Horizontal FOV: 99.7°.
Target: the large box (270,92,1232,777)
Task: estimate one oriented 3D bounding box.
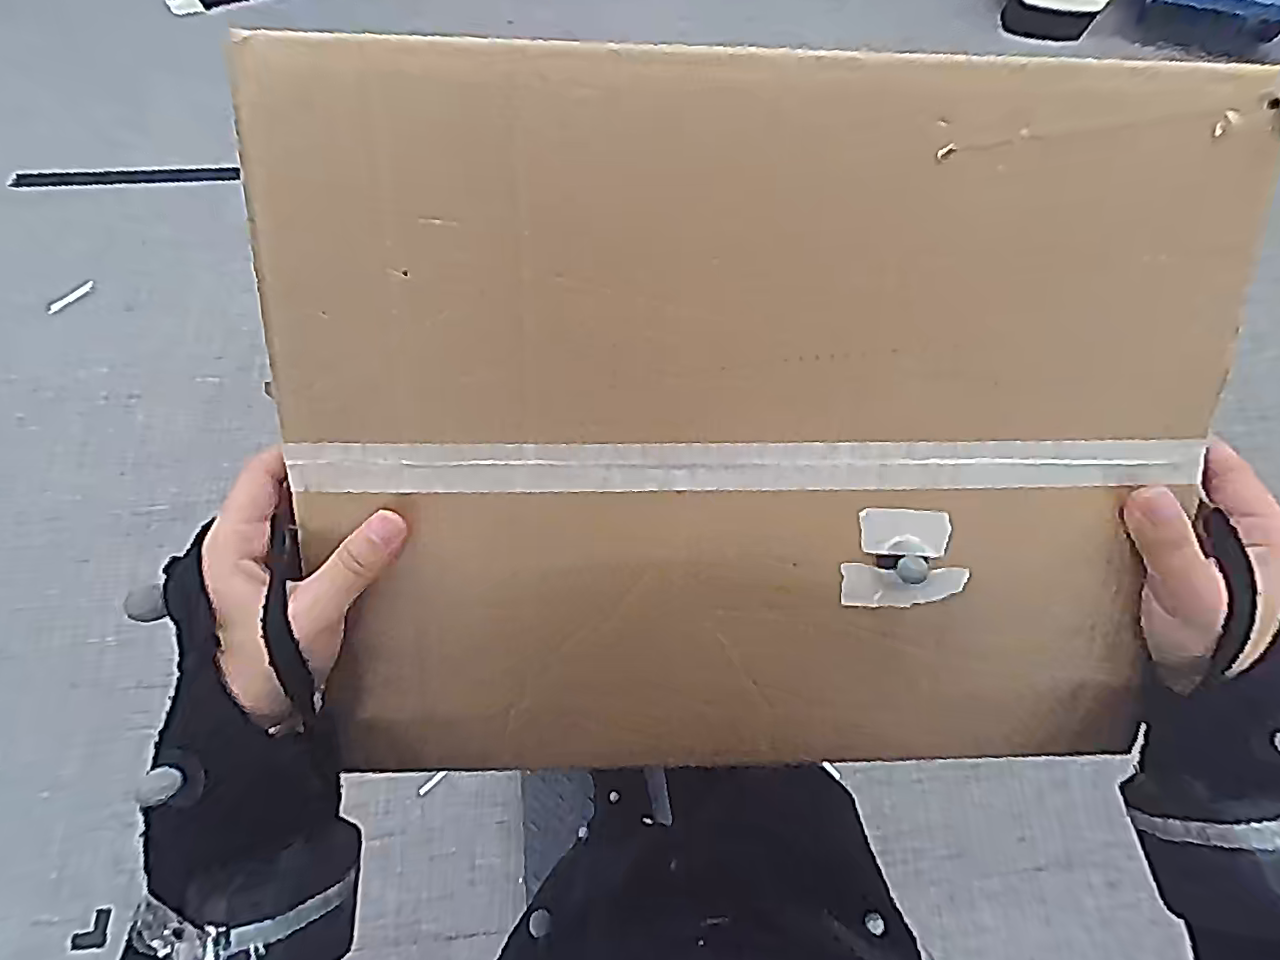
[{"bbox_3d":[0.045,-0.036,0.395,0.408,0.320,0.320,-1,104,-4],"label":"large box"}]
